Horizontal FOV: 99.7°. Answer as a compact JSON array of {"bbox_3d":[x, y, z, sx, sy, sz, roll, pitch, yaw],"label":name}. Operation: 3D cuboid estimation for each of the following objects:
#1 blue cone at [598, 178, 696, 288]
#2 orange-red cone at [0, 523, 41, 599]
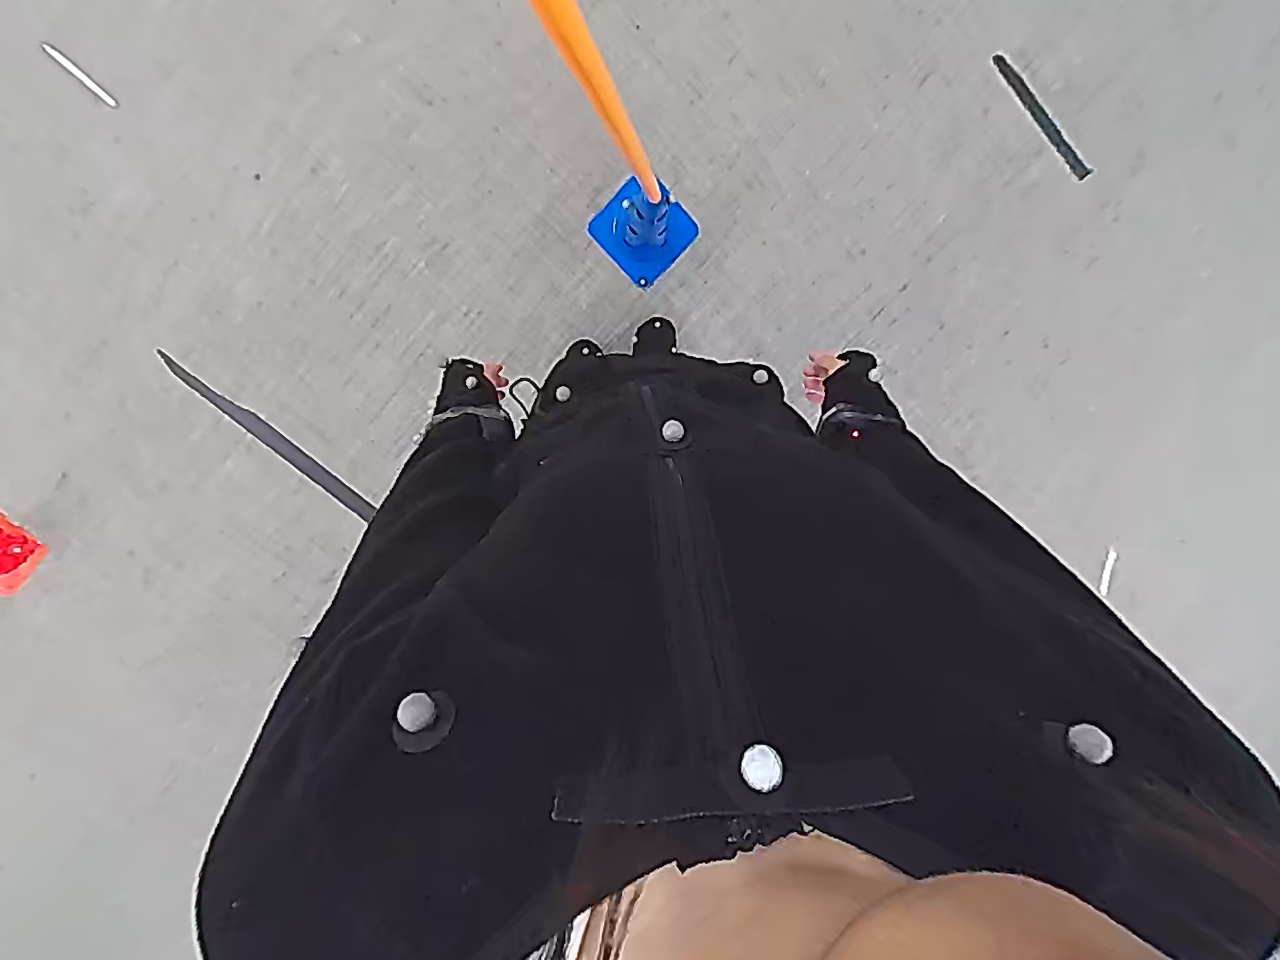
[{"bbox_3d":[0.025,-0.536,1.118,0.193,0.380,0.192,-42,104,9],"label":"blue cone"},{"bbox_3d":[-1.651,0.232,1.210,0.198,0.360,0.199,-42,103,8],"label":"orange-red cone"}]
